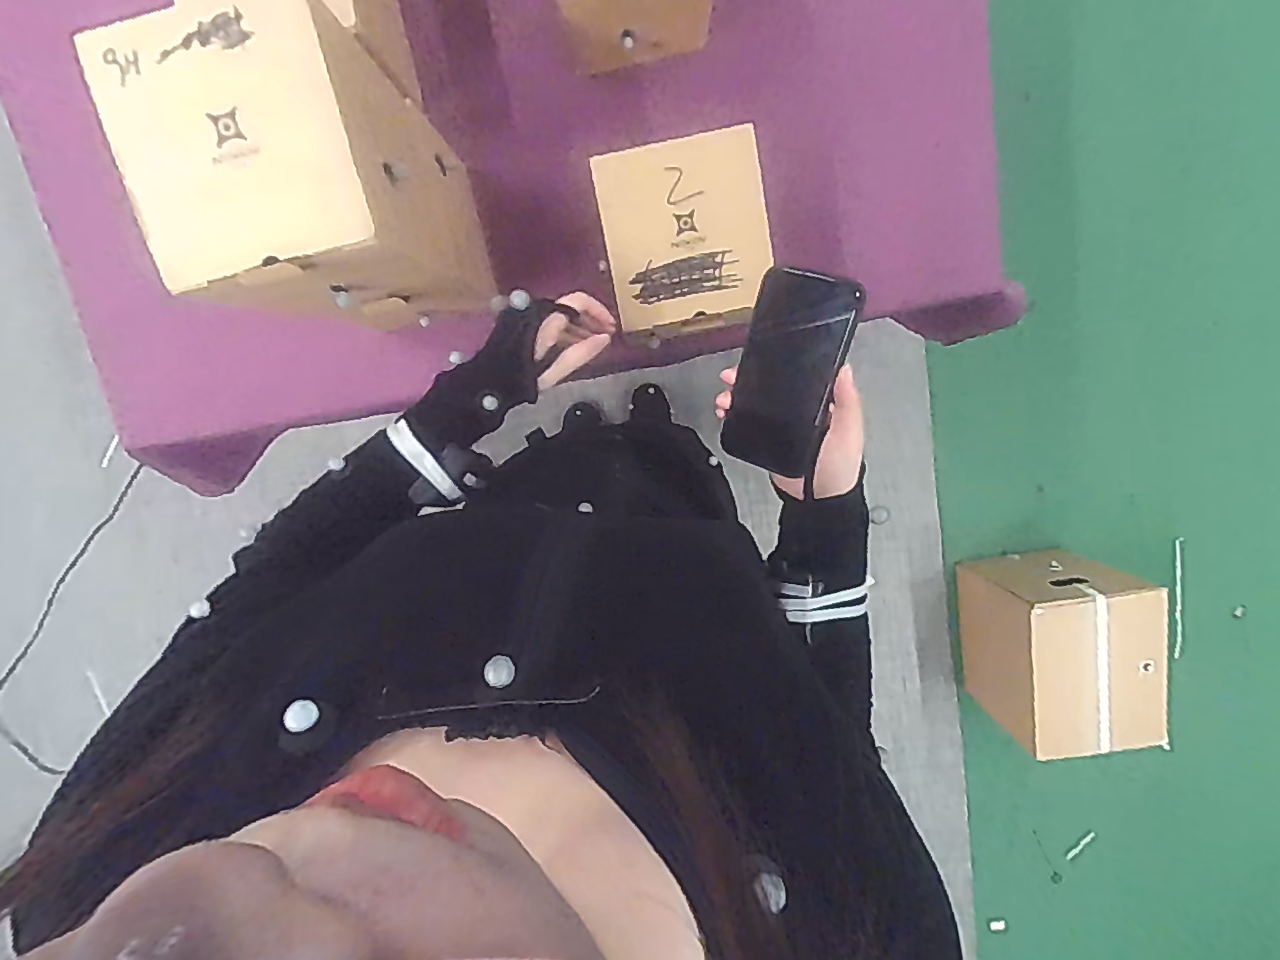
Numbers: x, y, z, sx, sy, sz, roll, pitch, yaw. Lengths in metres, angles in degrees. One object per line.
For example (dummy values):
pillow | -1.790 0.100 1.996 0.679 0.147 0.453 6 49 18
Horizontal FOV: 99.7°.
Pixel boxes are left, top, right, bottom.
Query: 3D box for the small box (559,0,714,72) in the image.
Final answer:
small box | -0.016 -0.581 0.566 0.168 0.176 0.179 -12 101 3

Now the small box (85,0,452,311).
small box | -0.283 -0.250 0.461 0.168 0.176 0.179 -13 101 3

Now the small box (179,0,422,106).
small box | -0.359 -0.510 0.582 0.168 0.176 0.179 -10 100 1

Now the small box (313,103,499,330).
small box | -0.279 -0.284 0.622 0.168 0.176 0.179 -12 100 3
